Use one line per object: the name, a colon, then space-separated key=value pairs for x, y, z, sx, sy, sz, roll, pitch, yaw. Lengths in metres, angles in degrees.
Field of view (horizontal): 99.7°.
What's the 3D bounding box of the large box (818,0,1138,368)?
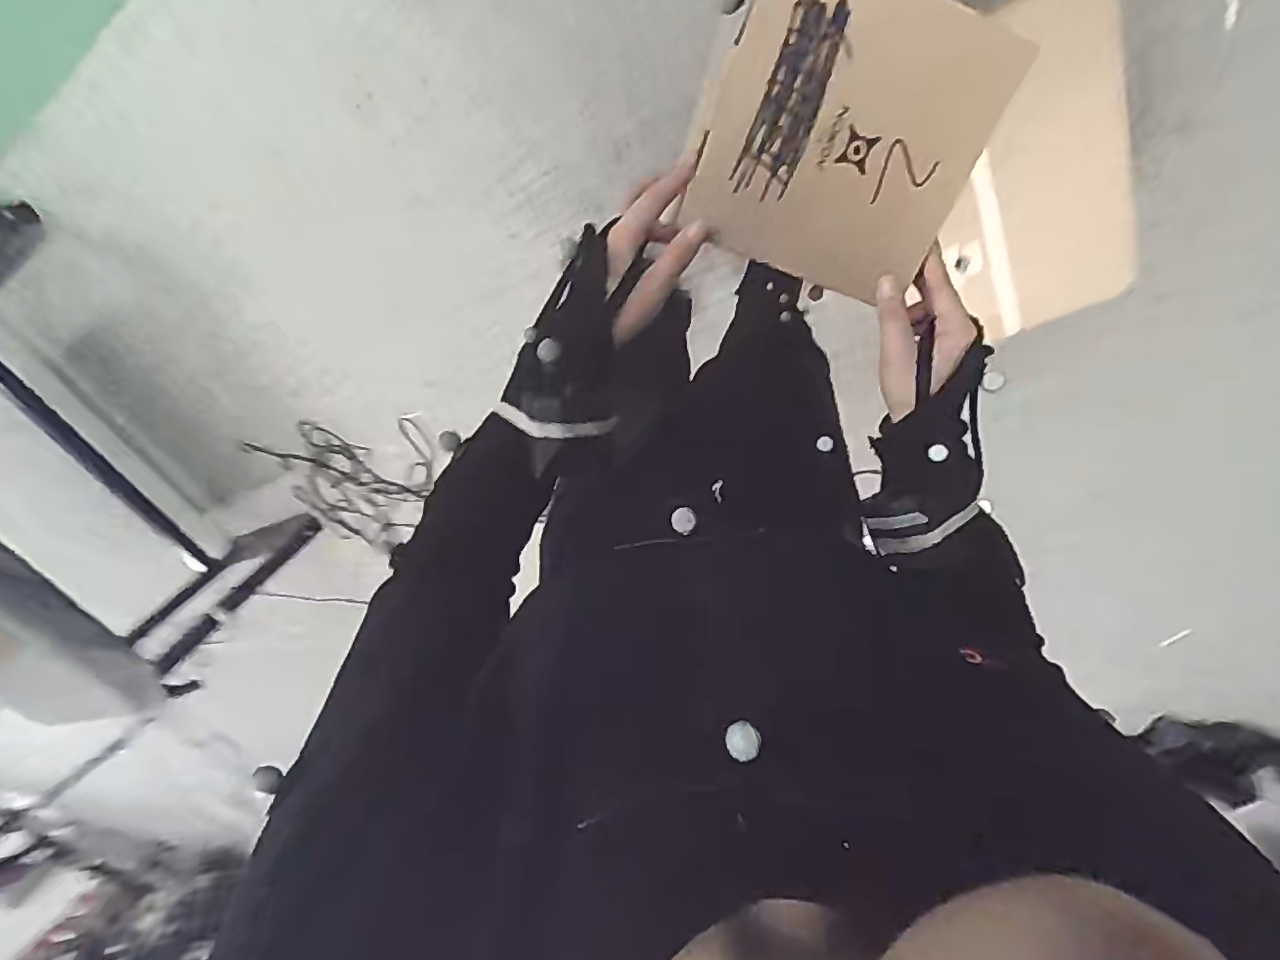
large box: x=0.506 y=-0.461 z=0.858 sx=0.320 sy=0.320 sz=0.408 roll=-18 pitch=119 yaw=26
